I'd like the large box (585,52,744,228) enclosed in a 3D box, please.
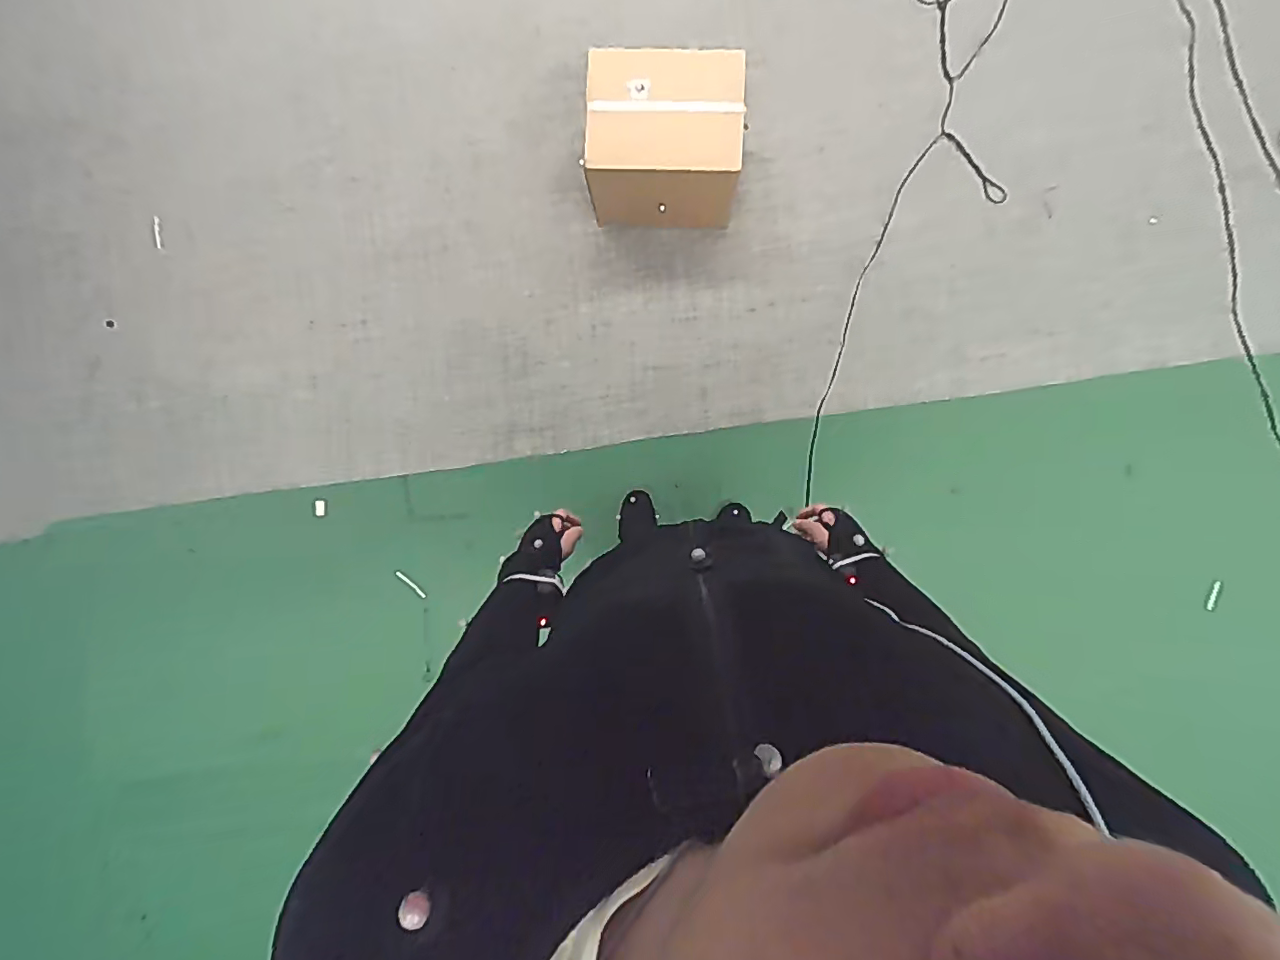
[{"bbox_3d":[0.072,-0.933,1.524,0.408,0.320,0.320,3,89,4],"label":"large box"}]
